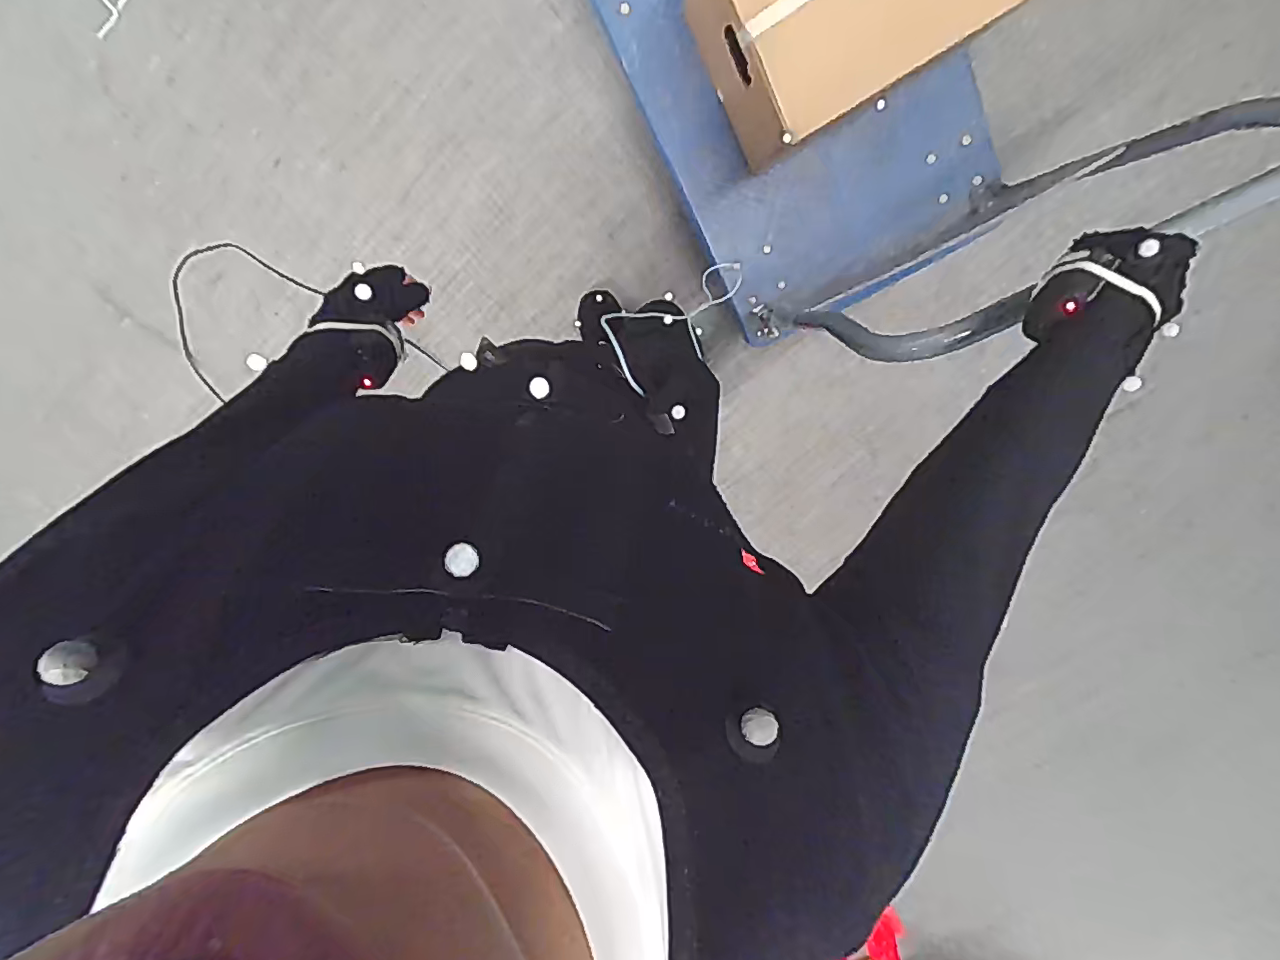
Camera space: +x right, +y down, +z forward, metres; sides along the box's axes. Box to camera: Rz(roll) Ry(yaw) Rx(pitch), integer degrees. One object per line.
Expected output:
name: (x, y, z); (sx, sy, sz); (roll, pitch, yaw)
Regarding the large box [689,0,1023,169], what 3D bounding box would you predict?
large box: (0.328, -0.778, 0.868); (0.408, 0.320, 0.320); (-27, 108, 13)
